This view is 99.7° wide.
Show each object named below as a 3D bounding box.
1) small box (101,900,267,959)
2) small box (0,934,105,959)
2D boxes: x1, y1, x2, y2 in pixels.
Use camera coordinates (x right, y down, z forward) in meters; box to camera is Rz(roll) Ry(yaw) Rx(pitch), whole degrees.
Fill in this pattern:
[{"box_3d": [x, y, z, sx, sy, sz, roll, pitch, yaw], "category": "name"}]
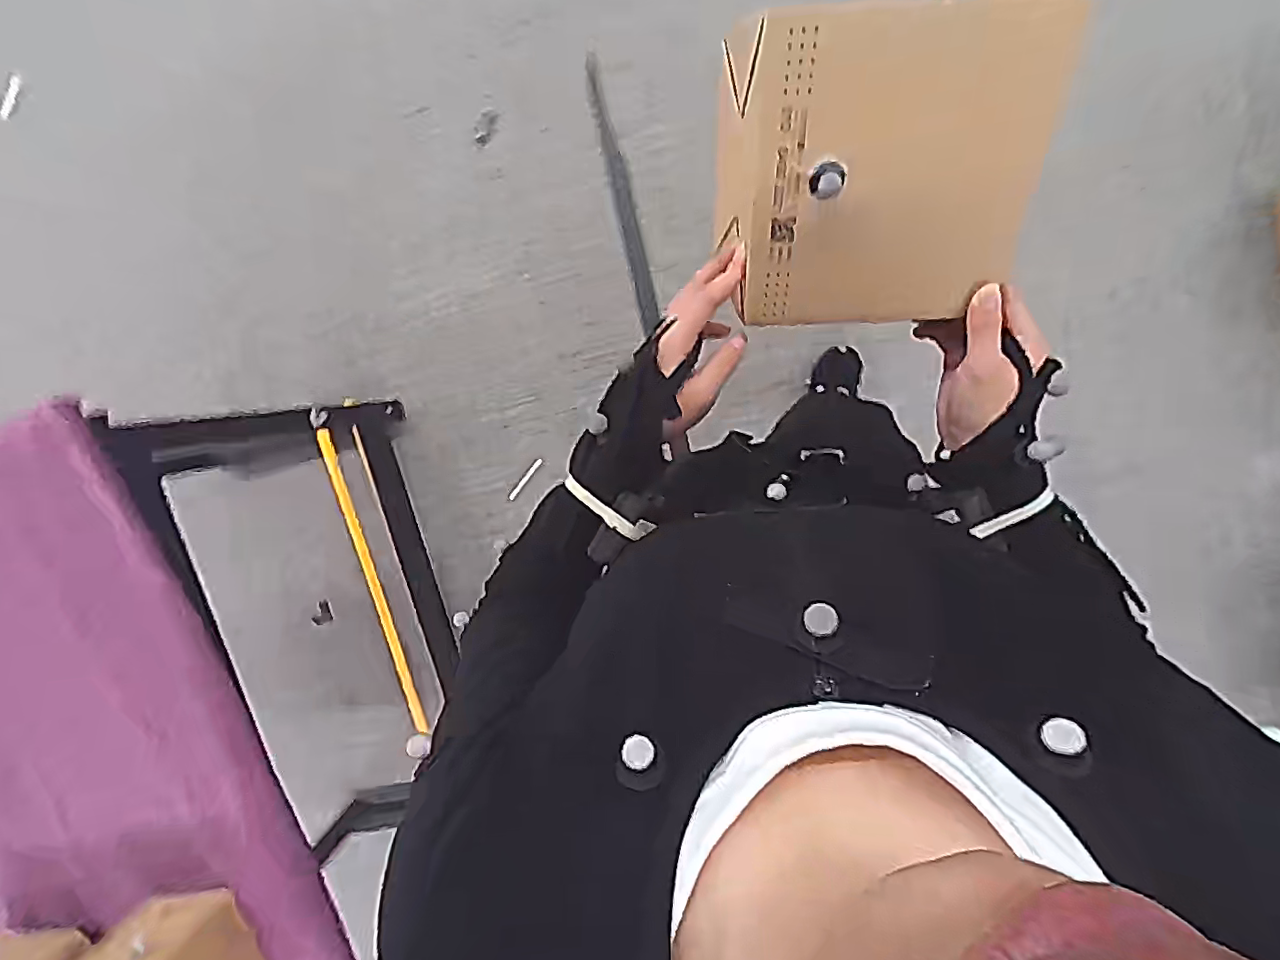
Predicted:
[{"box_3d": [-0.684, 0.750, 0.781, 0.168, 0.176, 0.179, -15, 99, 10], "category": "small box"}, {"box_3d": [-0.942, 0.839, 0.818, 0.176, 0.168, 0.179, -10, 107, 10], "category": "small box"}]
